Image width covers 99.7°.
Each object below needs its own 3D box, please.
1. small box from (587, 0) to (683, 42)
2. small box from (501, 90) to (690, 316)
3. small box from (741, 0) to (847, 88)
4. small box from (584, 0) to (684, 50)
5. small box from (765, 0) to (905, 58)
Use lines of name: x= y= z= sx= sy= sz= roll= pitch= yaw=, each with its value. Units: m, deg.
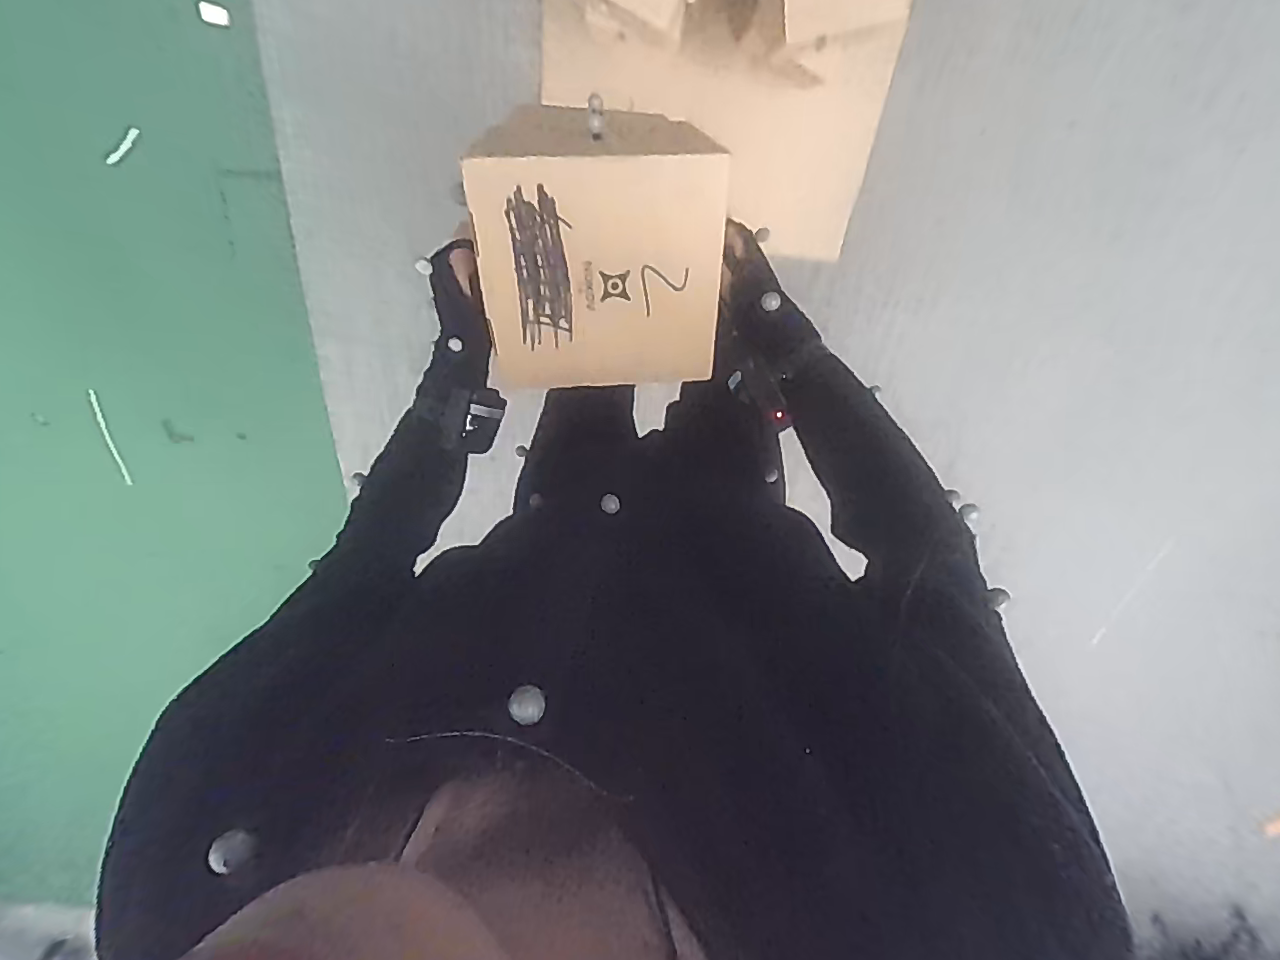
small box: x=-0.003 y=-0.797 z=0.805 sx=0.179 sy=0.176 sz=0.168 roll=23 pitch=118 yaw=-13
small box: x=-0.051 y=-0.294 z=0.576 sx=0.168 sy=0.176 sz=0.179 roll=-1 pitch=130 yaw=-8
small box: x=0.295 y=-0.840 z=0.960 sx=0.168 sy=0.176 sz=0.179 roll=24 pitch=118 yaw=-12
small box: x=0.001 y=-0.884 z=0.945 sx=0.168 sy=0.176 sz=0.179 roll=8 pitch=120 yaw=-4
small box: x=0.283 y=-0.765 z=0.815 sx=0.179 sy=0.176 sz=0.168 roll=-8 pitch=120 yaw=7
